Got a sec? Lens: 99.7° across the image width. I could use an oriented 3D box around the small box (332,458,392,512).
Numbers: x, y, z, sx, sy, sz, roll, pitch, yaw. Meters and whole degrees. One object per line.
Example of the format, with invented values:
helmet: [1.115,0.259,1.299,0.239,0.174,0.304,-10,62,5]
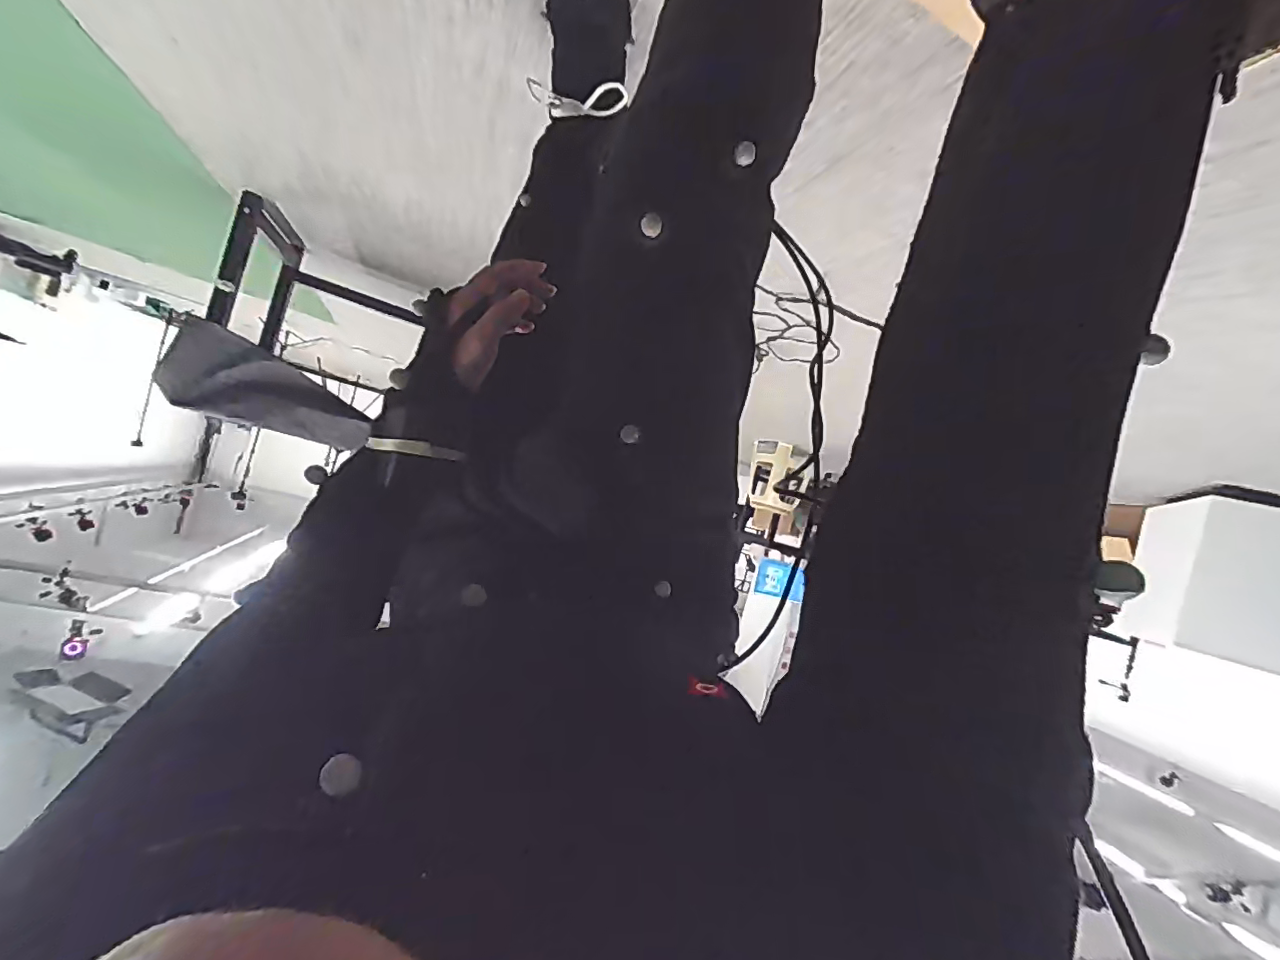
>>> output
small box: [-1.062,0.014,2.076,0.168,0.176,0.179,15,177,-22]
